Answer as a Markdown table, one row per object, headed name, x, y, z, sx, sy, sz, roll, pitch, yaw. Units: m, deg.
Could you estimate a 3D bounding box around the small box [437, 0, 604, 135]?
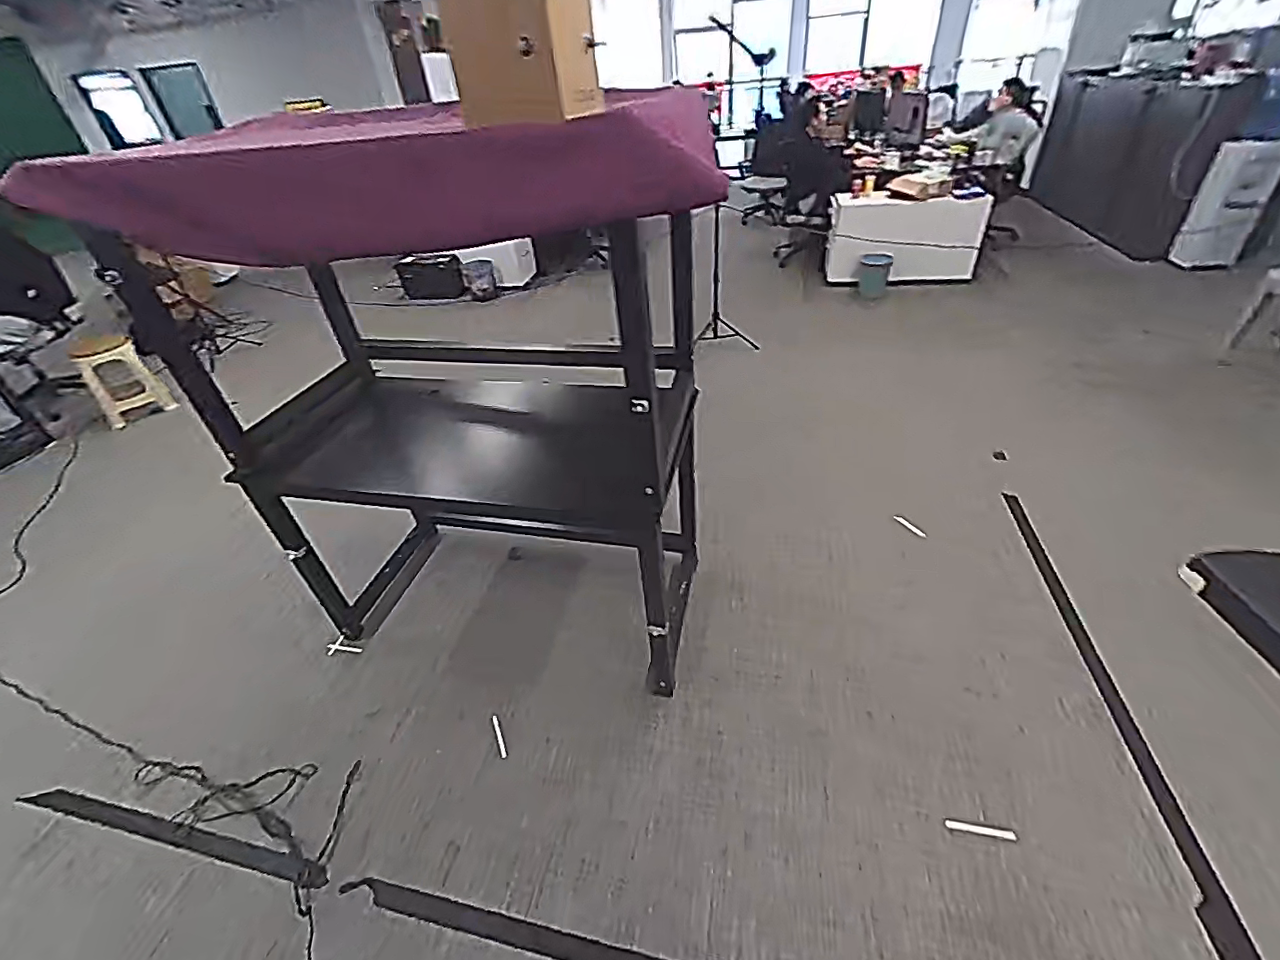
| name | x | y | z | sx | sy | sz | roll | pitch | yaw |
| --- | --- | --- | --- | --- | --- | --- | --- | --- | --- |
| small box | -0.166 | -0.634 | 0.816 | 0.179 | 0.176 | 0.168 | 7 | 38 | 18 |
